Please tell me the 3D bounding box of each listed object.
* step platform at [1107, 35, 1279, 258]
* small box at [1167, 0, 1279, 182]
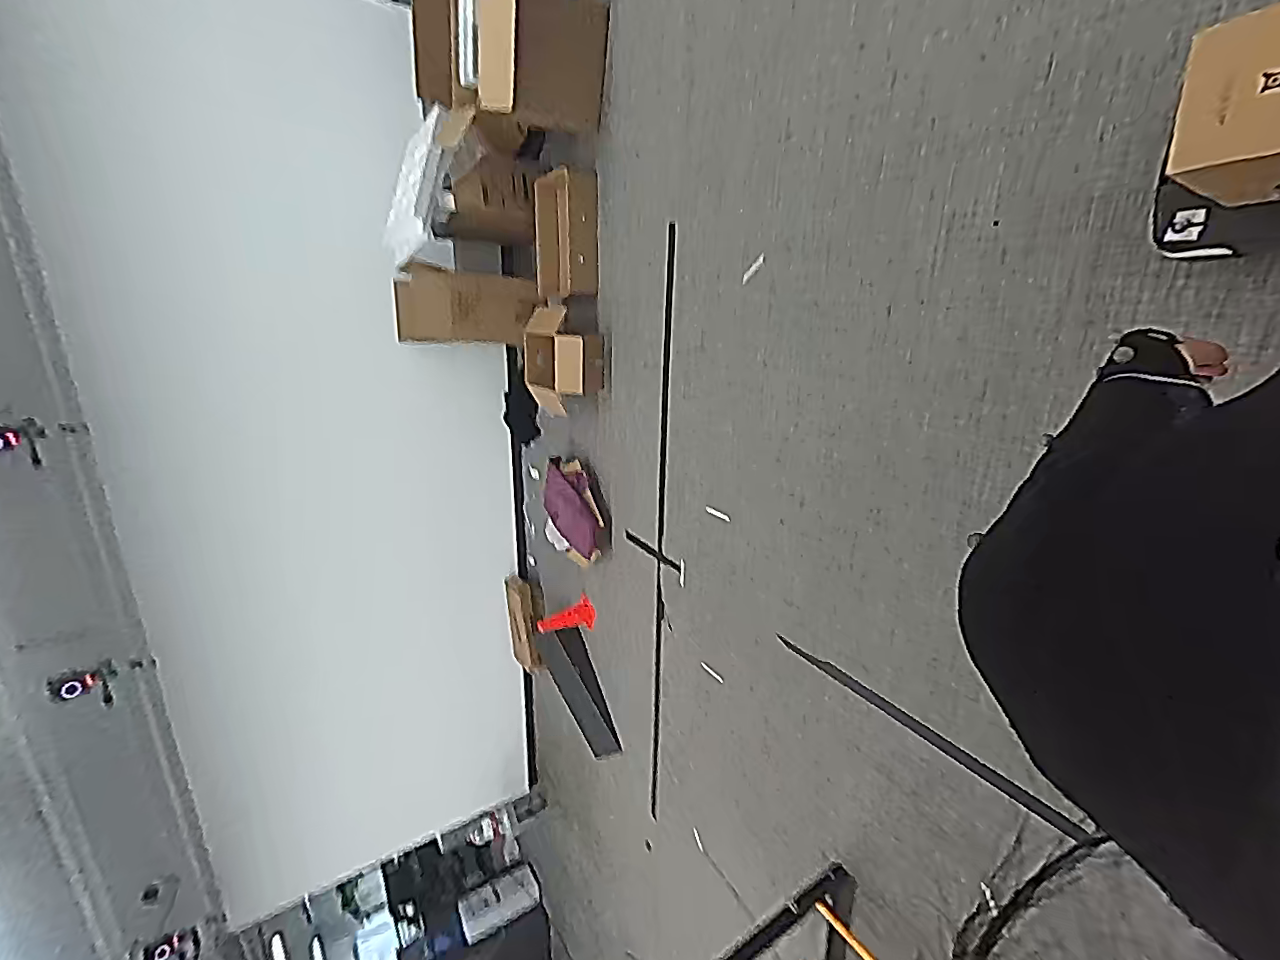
[{"bbox_3d":[1.007,-0.437,0.621,0.684,0.204,0.286,23,117,53],"label":"step platform"},{"bbox_3d":[0.813,-0.489,0.671,0.179,0.176,0.168,19,114,54],"label":"small box"}]
